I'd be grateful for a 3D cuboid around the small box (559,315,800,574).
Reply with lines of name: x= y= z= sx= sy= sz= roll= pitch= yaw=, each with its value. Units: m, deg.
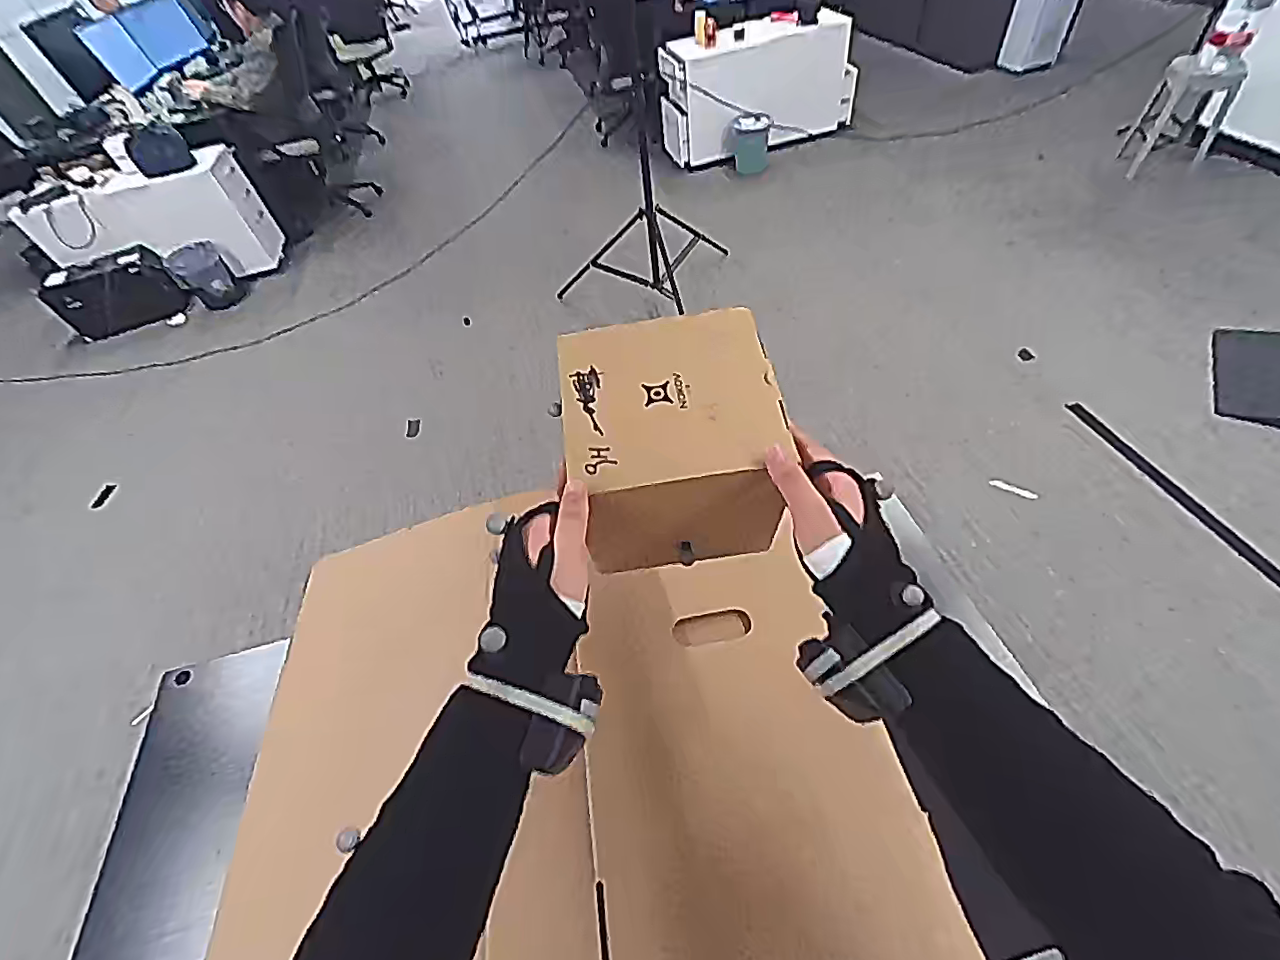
small box: x=0.027 y=-0.025 z=0.505 sx=0.179 sy=0.176 sz=0.168 roll=-8 pitch=59 yaw=-1
